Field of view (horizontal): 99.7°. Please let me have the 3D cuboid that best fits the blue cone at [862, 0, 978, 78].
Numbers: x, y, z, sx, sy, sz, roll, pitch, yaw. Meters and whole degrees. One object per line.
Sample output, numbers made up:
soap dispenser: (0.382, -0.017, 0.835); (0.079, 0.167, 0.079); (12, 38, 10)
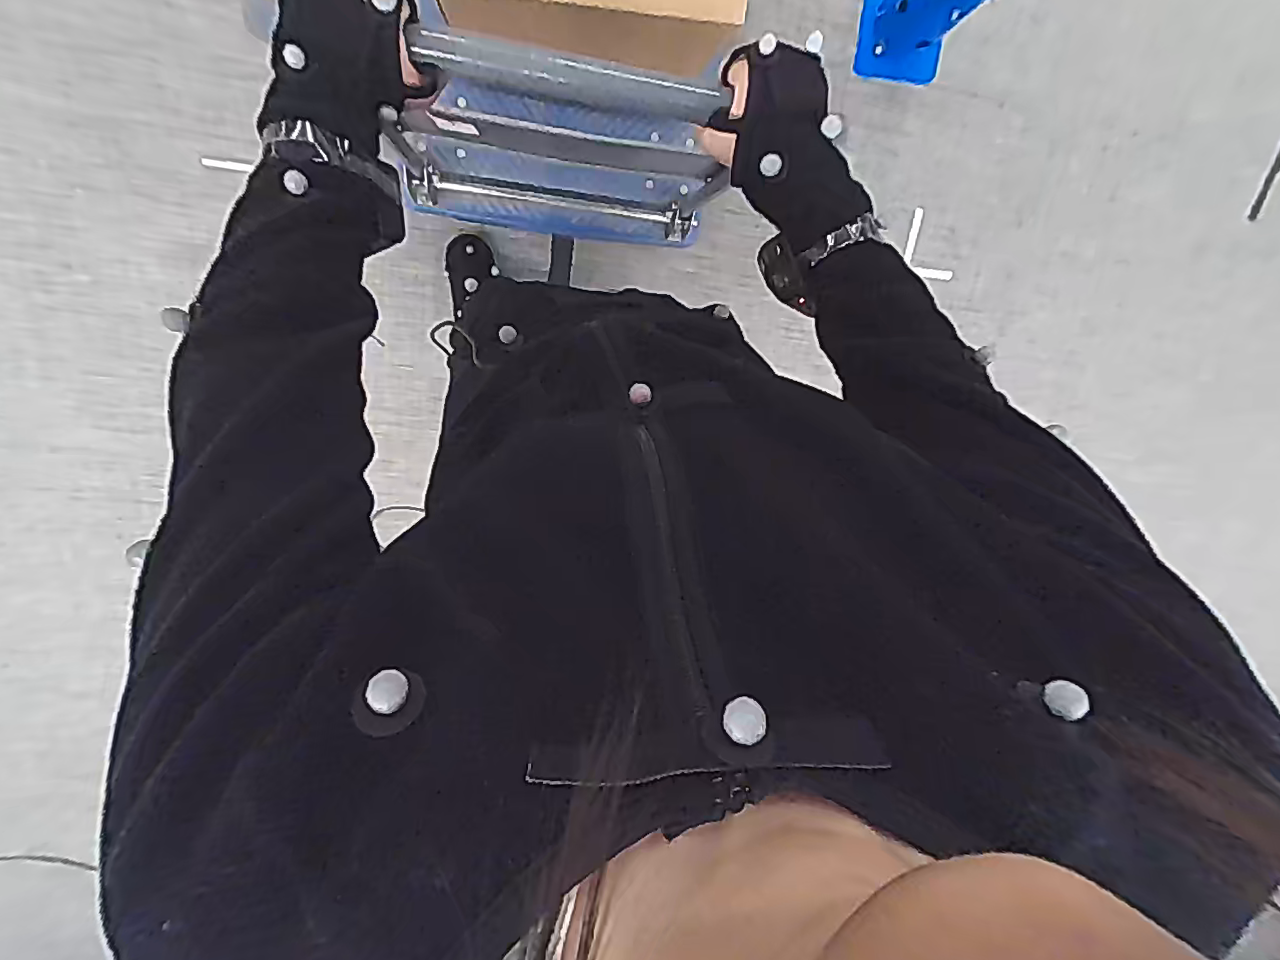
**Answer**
blue cone: (0.608, -0.936, 1.027); (0.193, 0.380, 0.192); (1, 111, -10)
